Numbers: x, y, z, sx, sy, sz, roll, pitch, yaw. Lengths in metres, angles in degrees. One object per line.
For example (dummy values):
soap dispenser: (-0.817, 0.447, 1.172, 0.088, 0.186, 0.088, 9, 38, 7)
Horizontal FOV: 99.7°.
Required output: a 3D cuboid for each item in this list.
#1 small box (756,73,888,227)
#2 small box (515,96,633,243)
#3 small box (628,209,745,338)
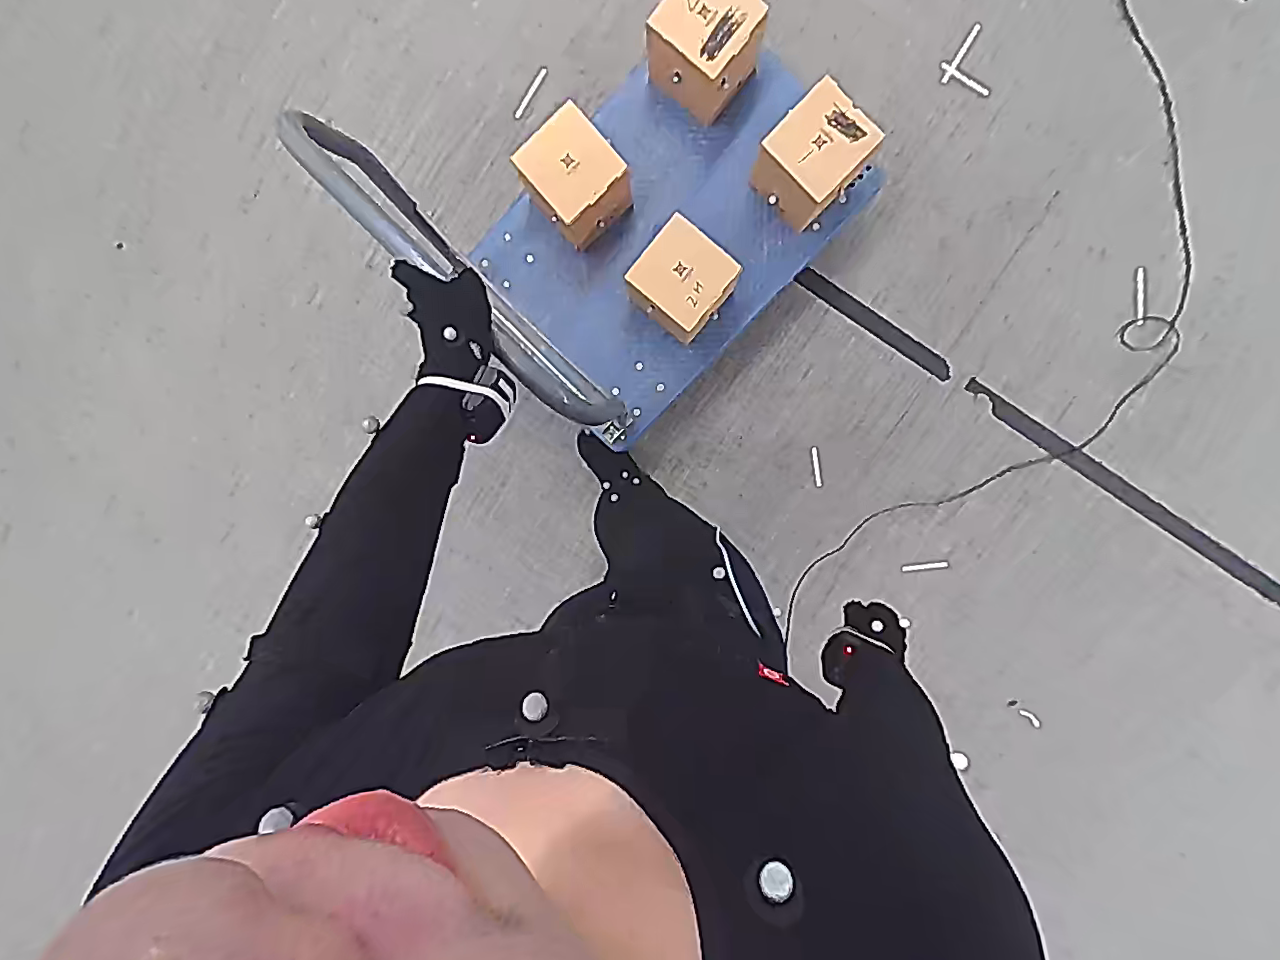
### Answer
small box: (0.362, -0.665, 1.114, 0.179, 0.176, 0.168, -44, 92, 7)
small box: (-0.130, -0.639, 1.139, 0.168, 0.176, 0.179, -42, 94, 5)
small box: (0.094, -0.425, 1.149, 0.179, 0.176, 0.168, 41, 96, -2)
